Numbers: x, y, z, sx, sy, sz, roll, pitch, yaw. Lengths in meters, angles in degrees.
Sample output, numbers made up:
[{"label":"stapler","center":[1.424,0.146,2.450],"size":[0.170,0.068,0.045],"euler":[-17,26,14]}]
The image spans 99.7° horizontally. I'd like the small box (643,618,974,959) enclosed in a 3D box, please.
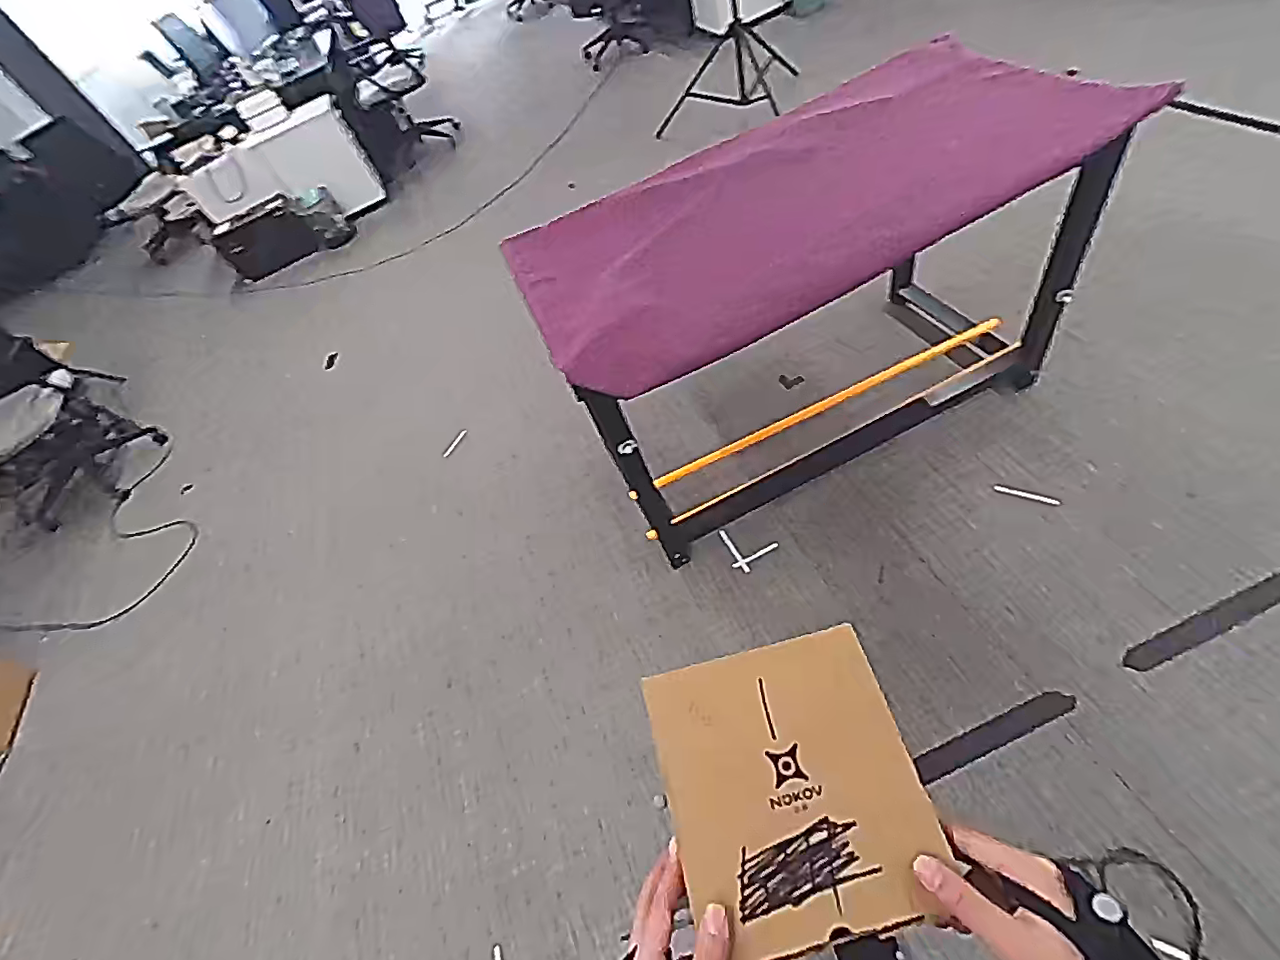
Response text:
[{"label":"small box","center":[0.106,0.231,0.421],"size":[0.168,0.176,0.179],"euler":[-14,59,-2]}]
